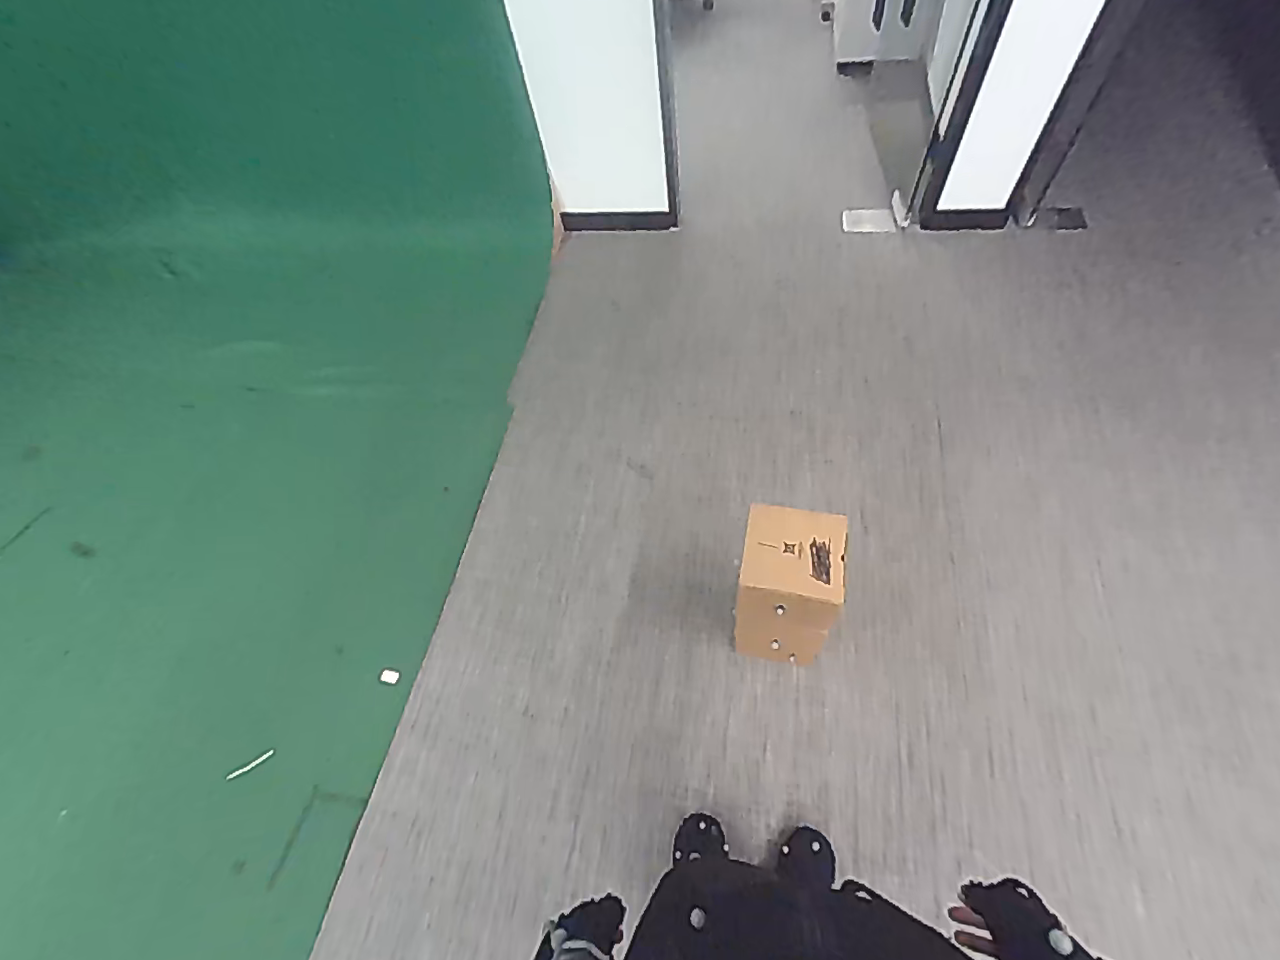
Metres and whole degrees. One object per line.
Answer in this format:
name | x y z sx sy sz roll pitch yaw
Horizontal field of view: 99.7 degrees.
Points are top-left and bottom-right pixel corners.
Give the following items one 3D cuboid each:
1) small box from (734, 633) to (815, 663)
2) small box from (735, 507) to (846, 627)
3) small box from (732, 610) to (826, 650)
small box | 0.324 0.332 1.304 0.179 0.176 0.168 6 60 13
small box | 0.279 0.170 1.021 0.179 0.176 0.168 7 61 10
small box | 0.302 0.255 1.161 0.179 0.176 0.168 11 62 13
